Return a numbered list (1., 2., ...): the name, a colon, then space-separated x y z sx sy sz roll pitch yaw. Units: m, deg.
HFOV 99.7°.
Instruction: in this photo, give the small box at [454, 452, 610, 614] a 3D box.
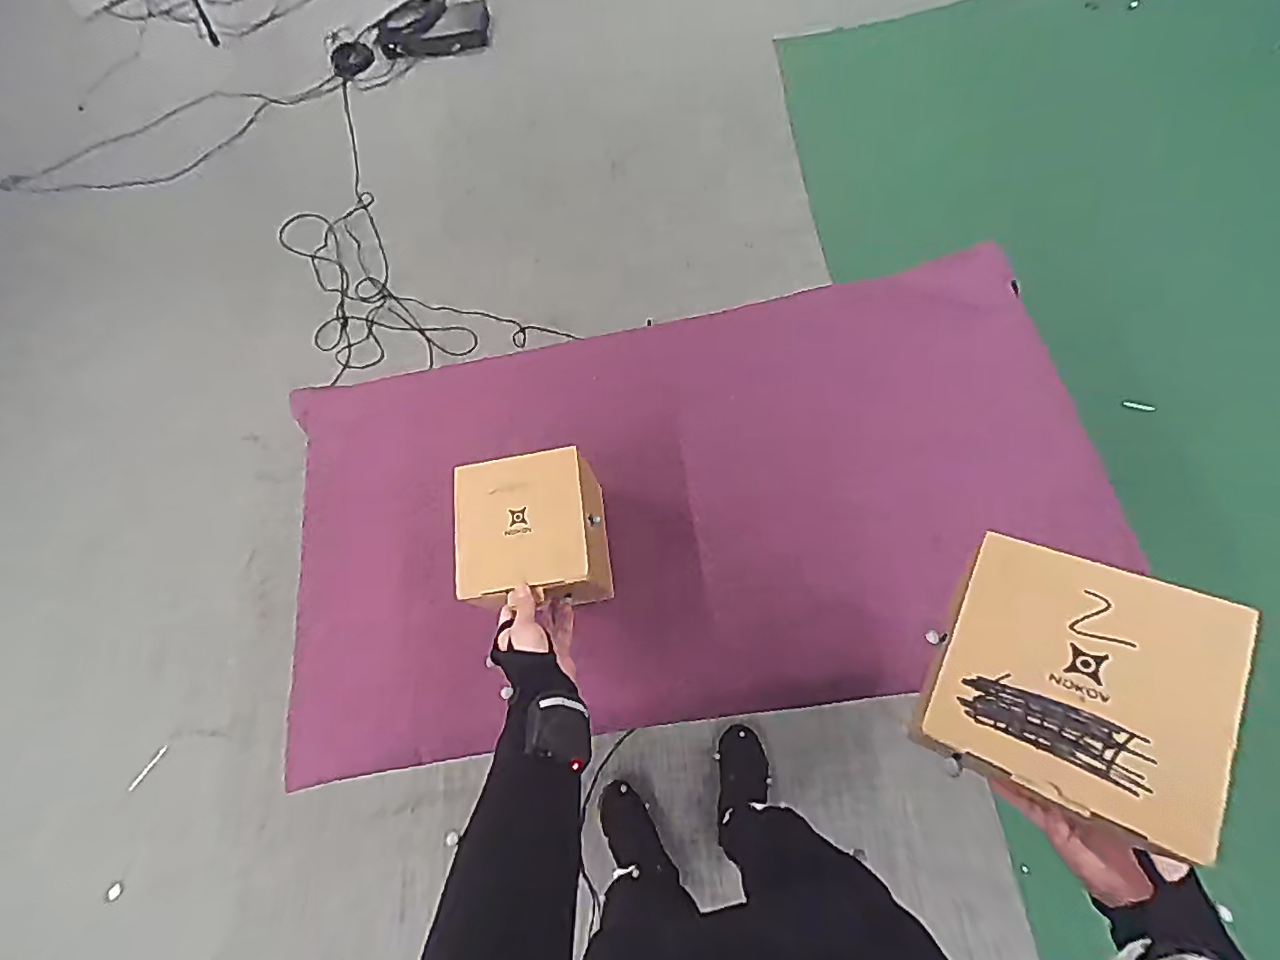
1. small box: -0.142 0.084 0.748 0.168 0.176 0.179 -9 67 4
